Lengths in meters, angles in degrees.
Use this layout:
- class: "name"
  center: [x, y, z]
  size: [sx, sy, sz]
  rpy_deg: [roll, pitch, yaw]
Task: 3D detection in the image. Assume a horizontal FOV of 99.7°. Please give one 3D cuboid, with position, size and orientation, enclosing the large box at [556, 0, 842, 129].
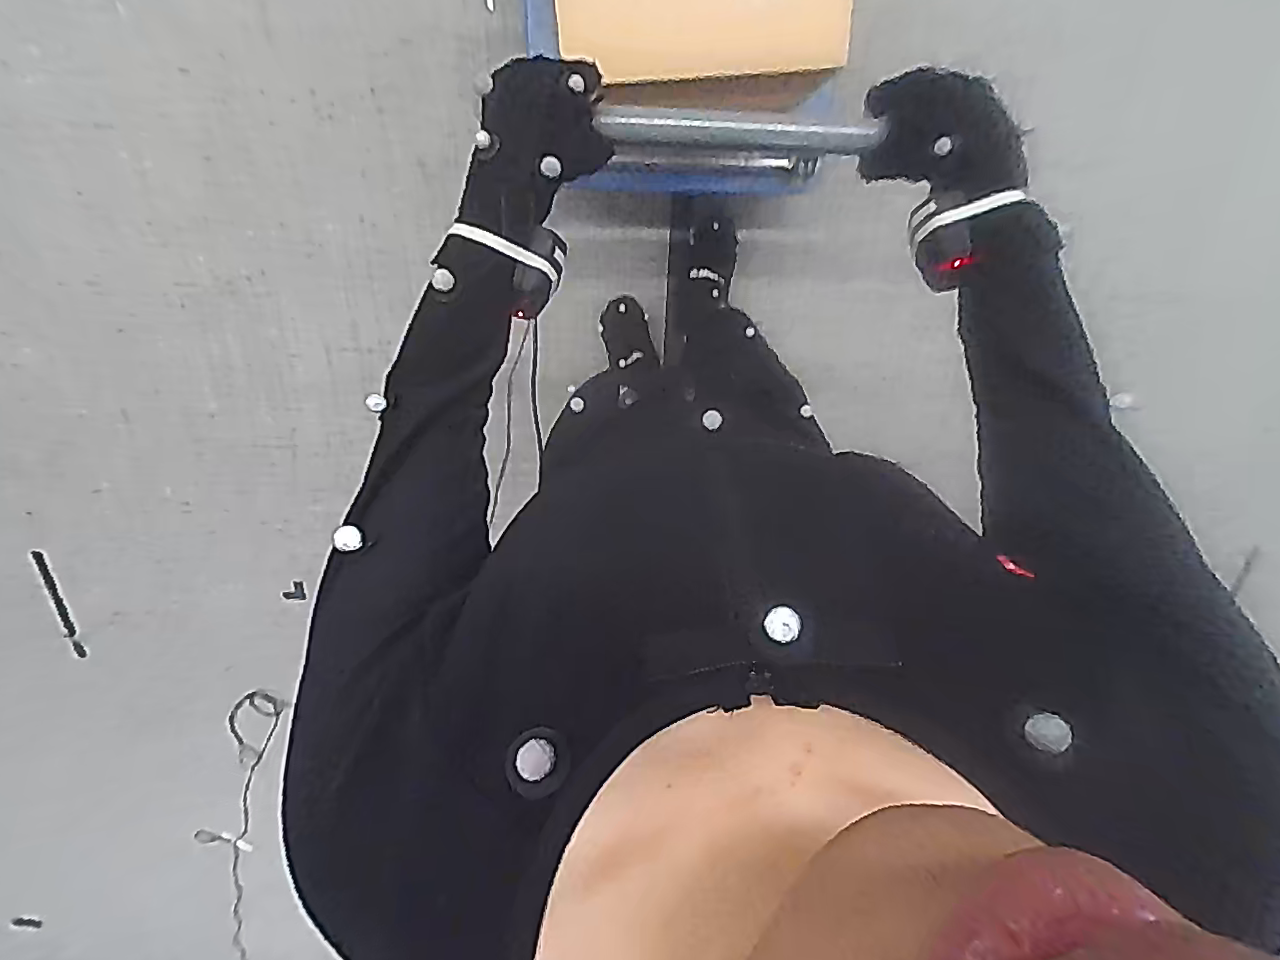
- class: "large box"
  center: [0.070, -0.781, 0.856]
  size: [0.408, 0.320, 0.320]
  rpy_deg: [-5, 114, -1]
